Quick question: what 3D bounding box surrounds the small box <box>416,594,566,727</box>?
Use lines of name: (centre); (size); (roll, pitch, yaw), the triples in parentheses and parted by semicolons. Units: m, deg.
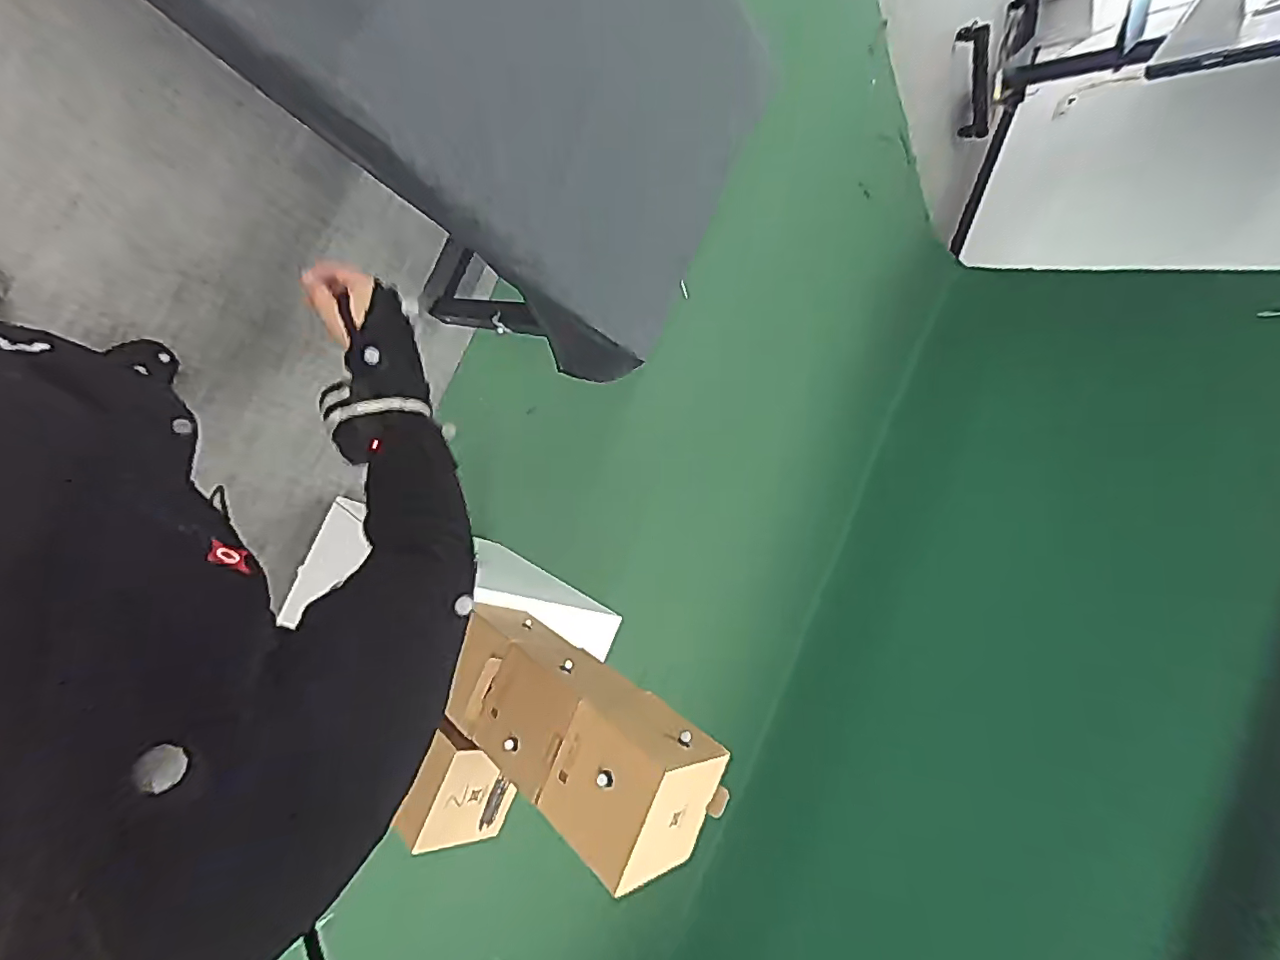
small box: (-0.265, 0.319, 0.969); (0.179, 0.176, 0.168); (30, 83, -51)

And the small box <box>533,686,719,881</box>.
small box: (-0.022, 0.413, 0.774); (0.179, 0.176, 0.168); (24, 89, -52)

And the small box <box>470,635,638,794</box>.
small box: (-0.141, 0.365, 0.874); (0.179, 0.176, 0.168); (26, 88, -52)
